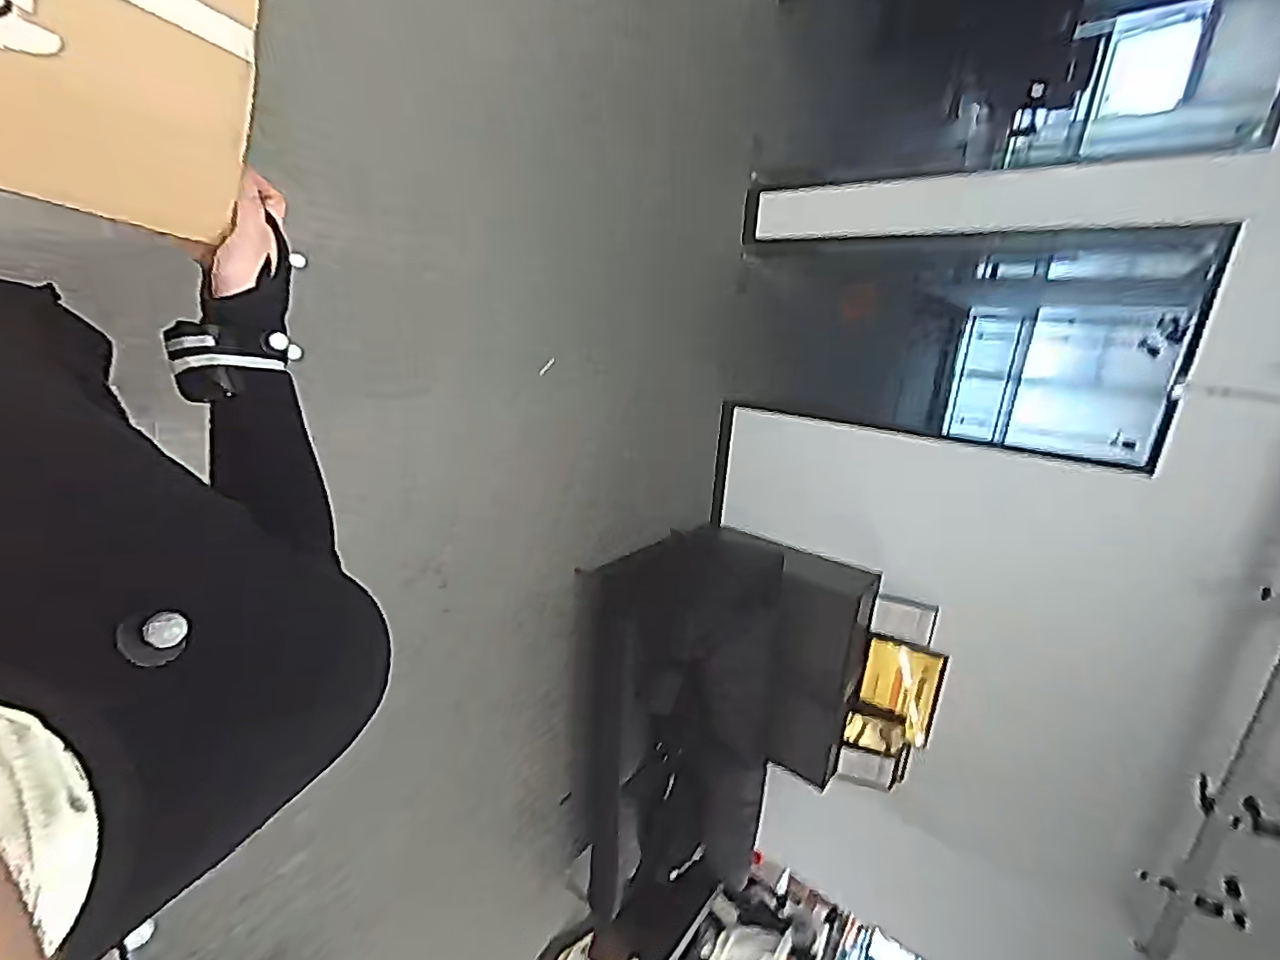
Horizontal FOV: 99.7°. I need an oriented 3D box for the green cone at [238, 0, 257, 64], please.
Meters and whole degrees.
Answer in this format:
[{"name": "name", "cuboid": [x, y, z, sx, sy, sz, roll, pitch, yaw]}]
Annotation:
[{"name": "green cone", "cuboid": [-0.814, -1.020, 1.074, 0.200, 0.368, 0.202, -7, 107, -53]}]
